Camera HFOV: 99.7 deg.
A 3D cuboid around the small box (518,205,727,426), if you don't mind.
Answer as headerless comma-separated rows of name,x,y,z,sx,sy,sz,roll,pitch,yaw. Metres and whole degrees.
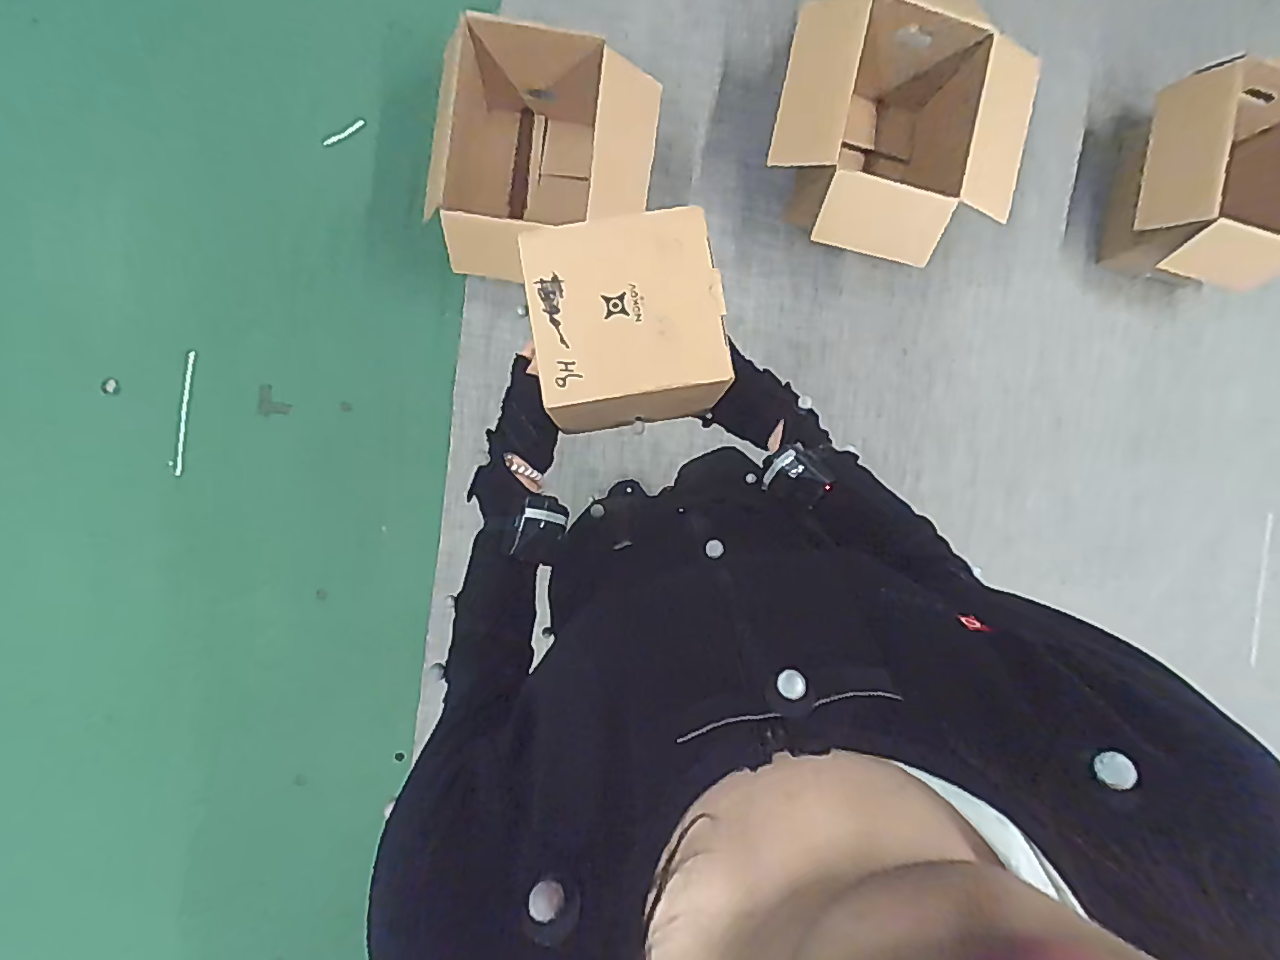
small box,-0.020,-0.159,0.571,0.179,0.176,0.168,-8,86,-3
